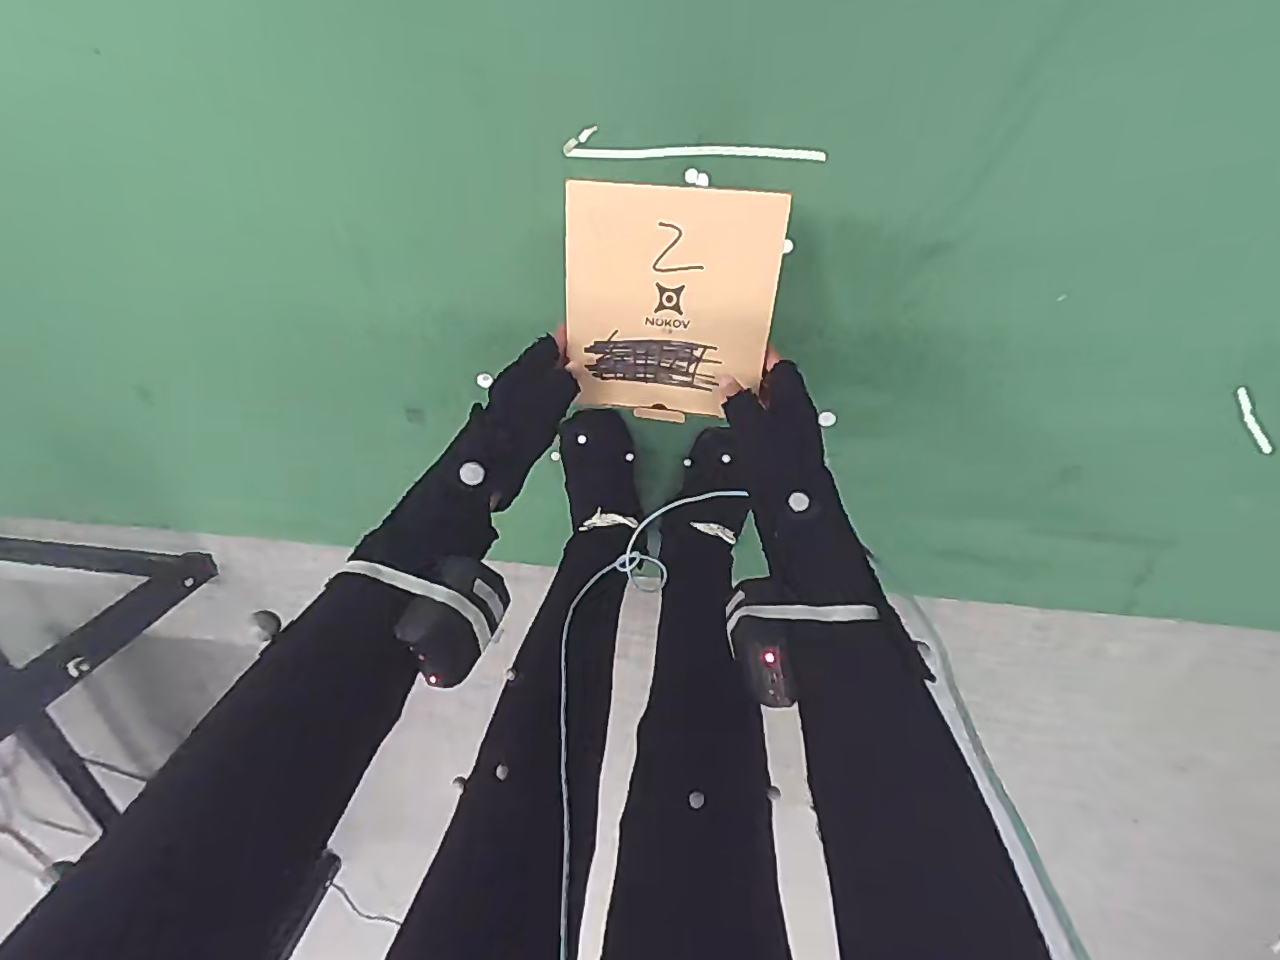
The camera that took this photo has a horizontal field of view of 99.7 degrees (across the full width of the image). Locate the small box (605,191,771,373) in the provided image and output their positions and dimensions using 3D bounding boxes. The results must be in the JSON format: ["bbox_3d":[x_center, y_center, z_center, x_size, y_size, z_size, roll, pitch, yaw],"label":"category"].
[{"bbox_3d":[0.057,-0.244,0.652,0.168,0.176,0.179,7,118,5],"label":"small box"}]
